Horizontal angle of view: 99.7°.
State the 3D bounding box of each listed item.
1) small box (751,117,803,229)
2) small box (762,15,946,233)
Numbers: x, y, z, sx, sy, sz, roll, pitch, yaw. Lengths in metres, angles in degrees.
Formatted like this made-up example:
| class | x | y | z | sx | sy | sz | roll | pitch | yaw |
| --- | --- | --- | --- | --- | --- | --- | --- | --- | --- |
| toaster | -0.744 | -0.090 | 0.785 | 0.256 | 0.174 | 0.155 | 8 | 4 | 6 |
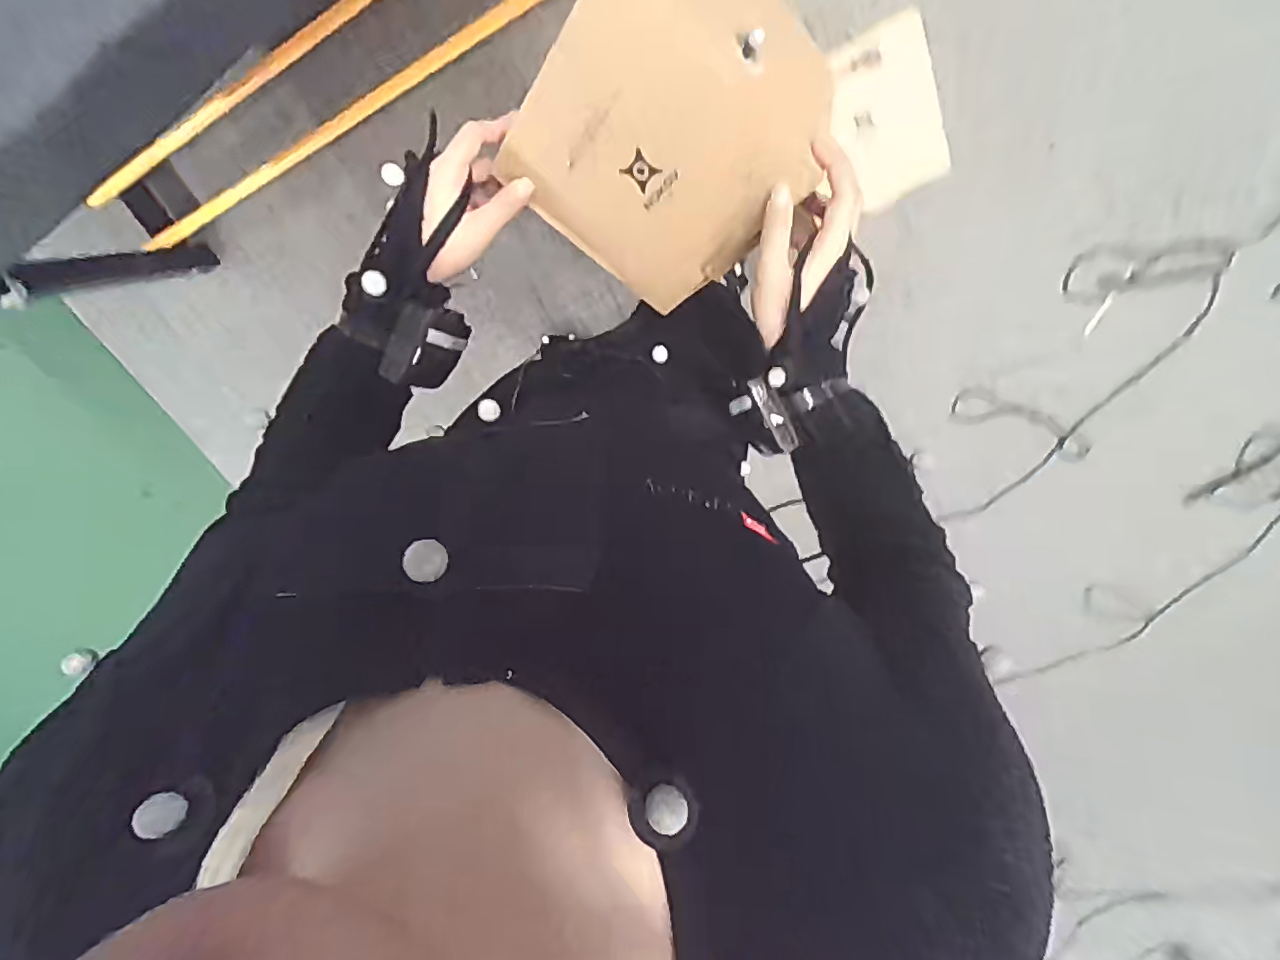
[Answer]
| class | x | y | z | sx | sy | sz | roll | pitch | yaw |
| --- | --- | --- | --- | --- | --- | --- | --- | --- | --- |
| small box | 0.286 | -0.523 | 0.866 | 0.179 | 0.176 | 0.168 | -22 | 113 | 15 |
| small box | 0.273 | -0.454 | 0.716 | 0.168 | 0.176 | 0.179 | -21 | 114 | 14 |
